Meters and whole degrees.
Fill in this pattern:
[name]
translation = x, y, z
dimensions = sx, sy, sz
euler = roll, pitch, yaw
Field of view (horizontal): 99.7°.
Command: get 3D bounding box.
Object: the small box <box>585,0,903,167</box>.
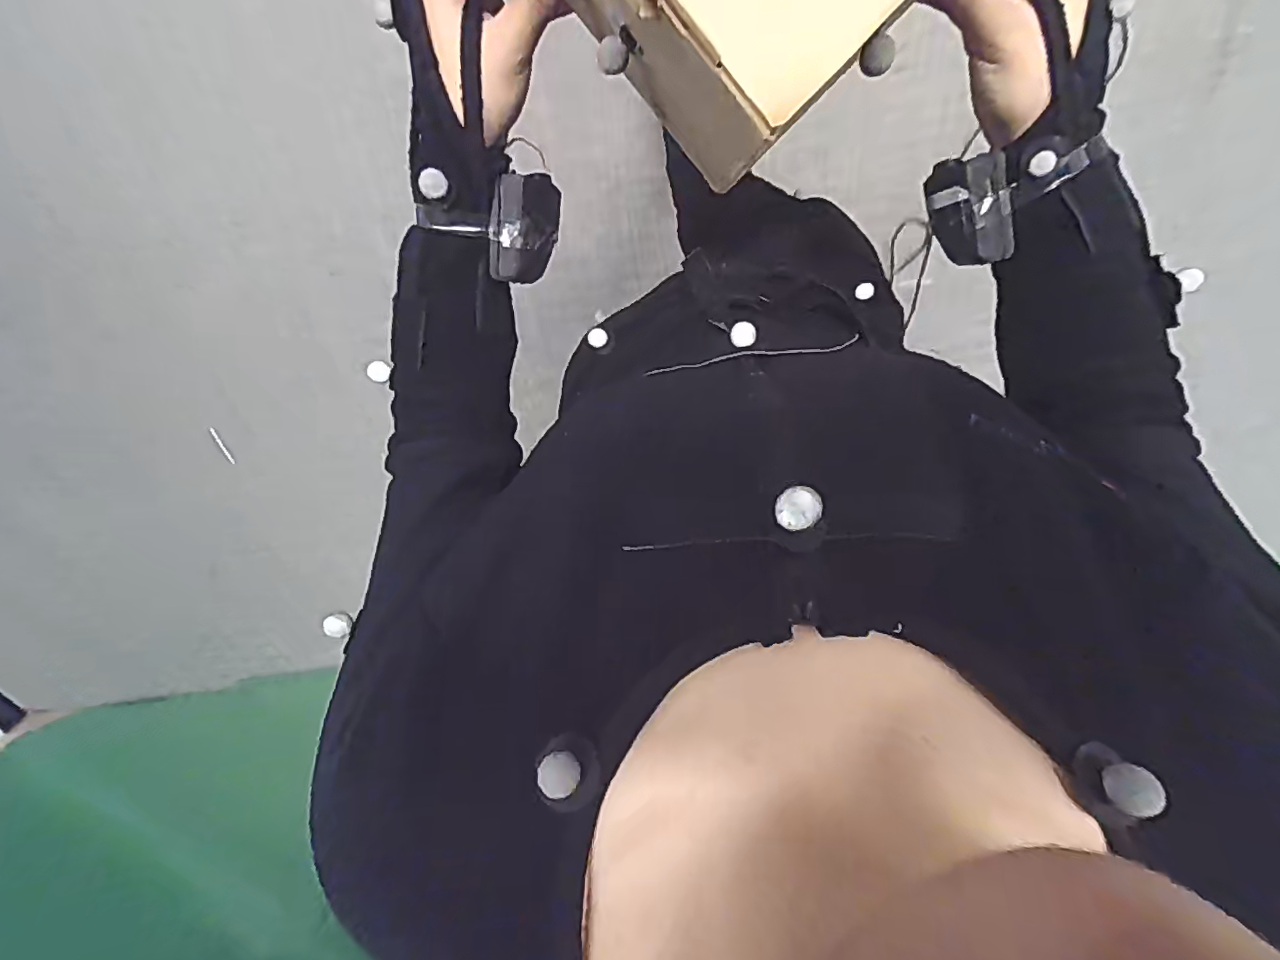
[small box]
translation = 0.055, -0.272, 0.232
dimensions = 0.179, 0.176, 0.168
euler = -41, 105, 17
